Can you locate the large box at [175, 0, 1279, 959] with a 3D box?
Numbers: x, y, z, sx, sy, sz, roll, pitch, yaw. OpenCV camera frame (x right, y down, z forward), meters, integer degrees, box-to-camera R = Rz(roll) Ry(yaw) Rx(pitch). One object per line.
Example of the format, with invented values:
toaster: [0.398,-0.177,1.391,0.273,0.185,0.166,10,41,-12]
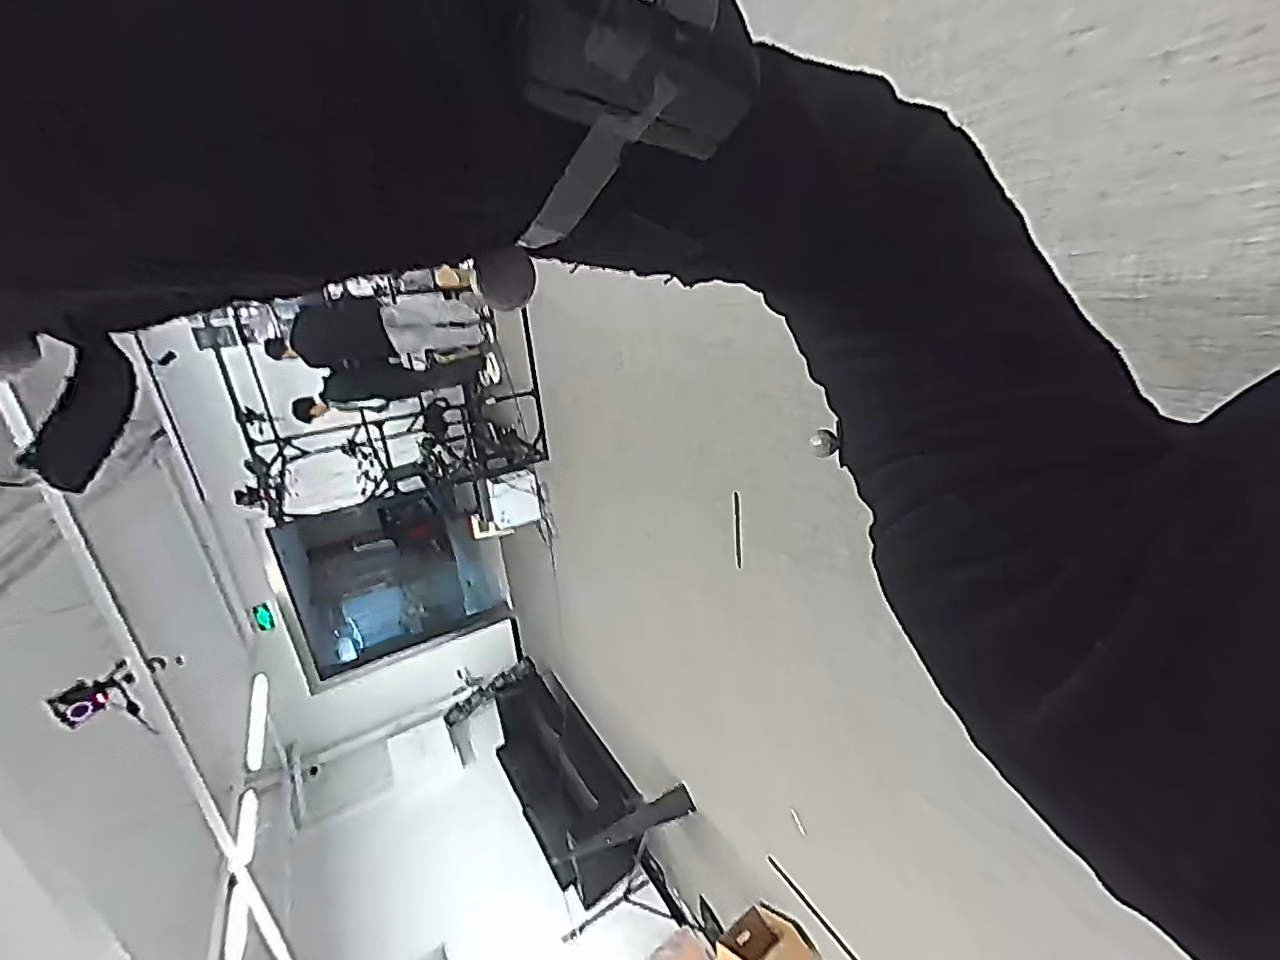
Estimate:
large box: [0.124,0.058,0.158,0.408,0.320,0.320,15,-114,54]
